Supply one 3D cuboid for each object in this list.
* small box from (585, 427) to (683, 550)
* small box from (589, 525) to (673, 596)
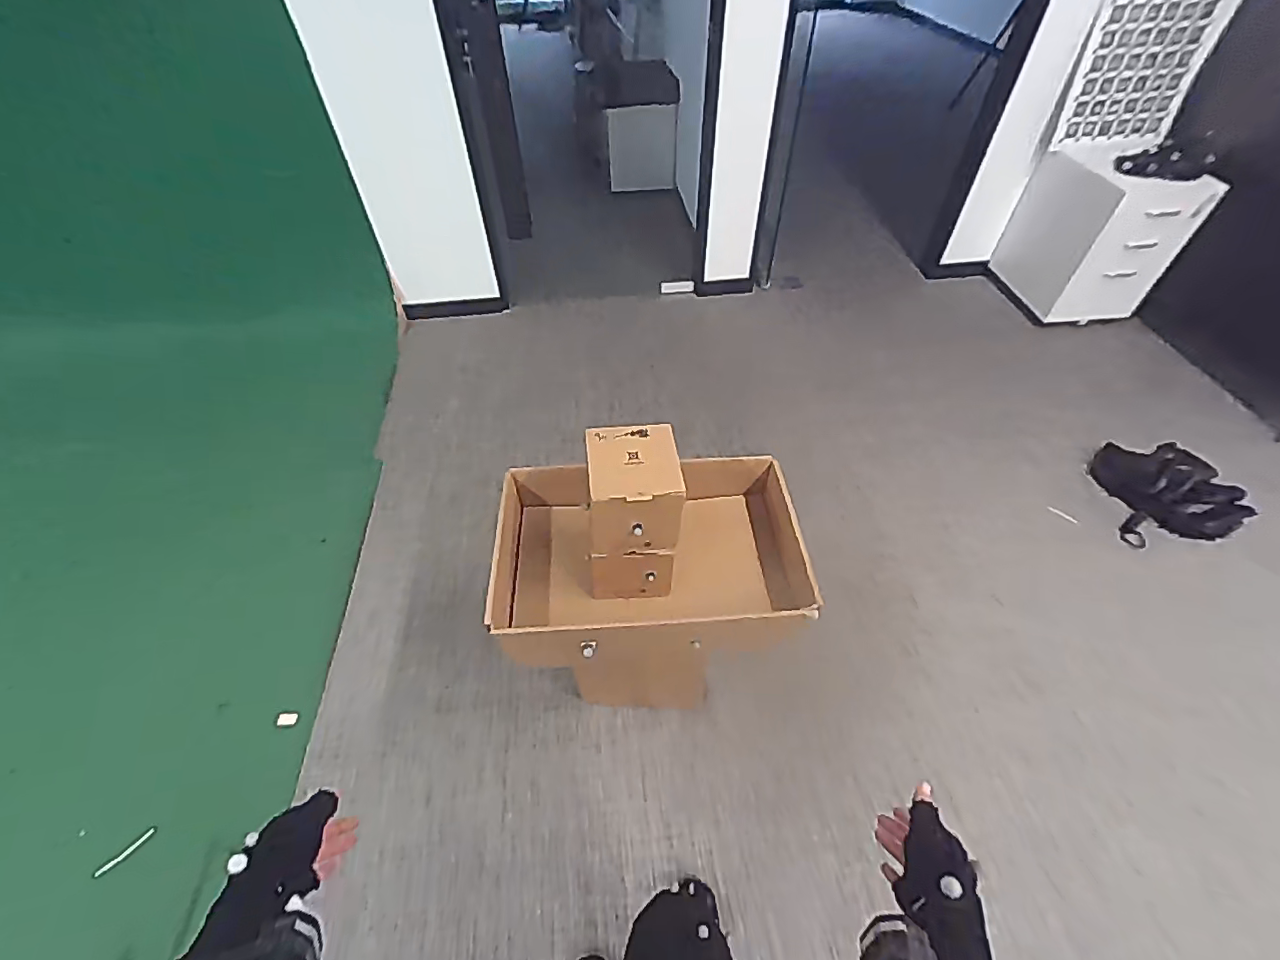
[{"bbox_3d":[-0.016,0.022,1.030,0.168,0.176,0.179,-3,50,-6],"label":"small box"},{"bbox_3d":[-0.023,0.136,1.148,0.168,0.176,0.179,-1,47,-4],"label":"small box"}]
